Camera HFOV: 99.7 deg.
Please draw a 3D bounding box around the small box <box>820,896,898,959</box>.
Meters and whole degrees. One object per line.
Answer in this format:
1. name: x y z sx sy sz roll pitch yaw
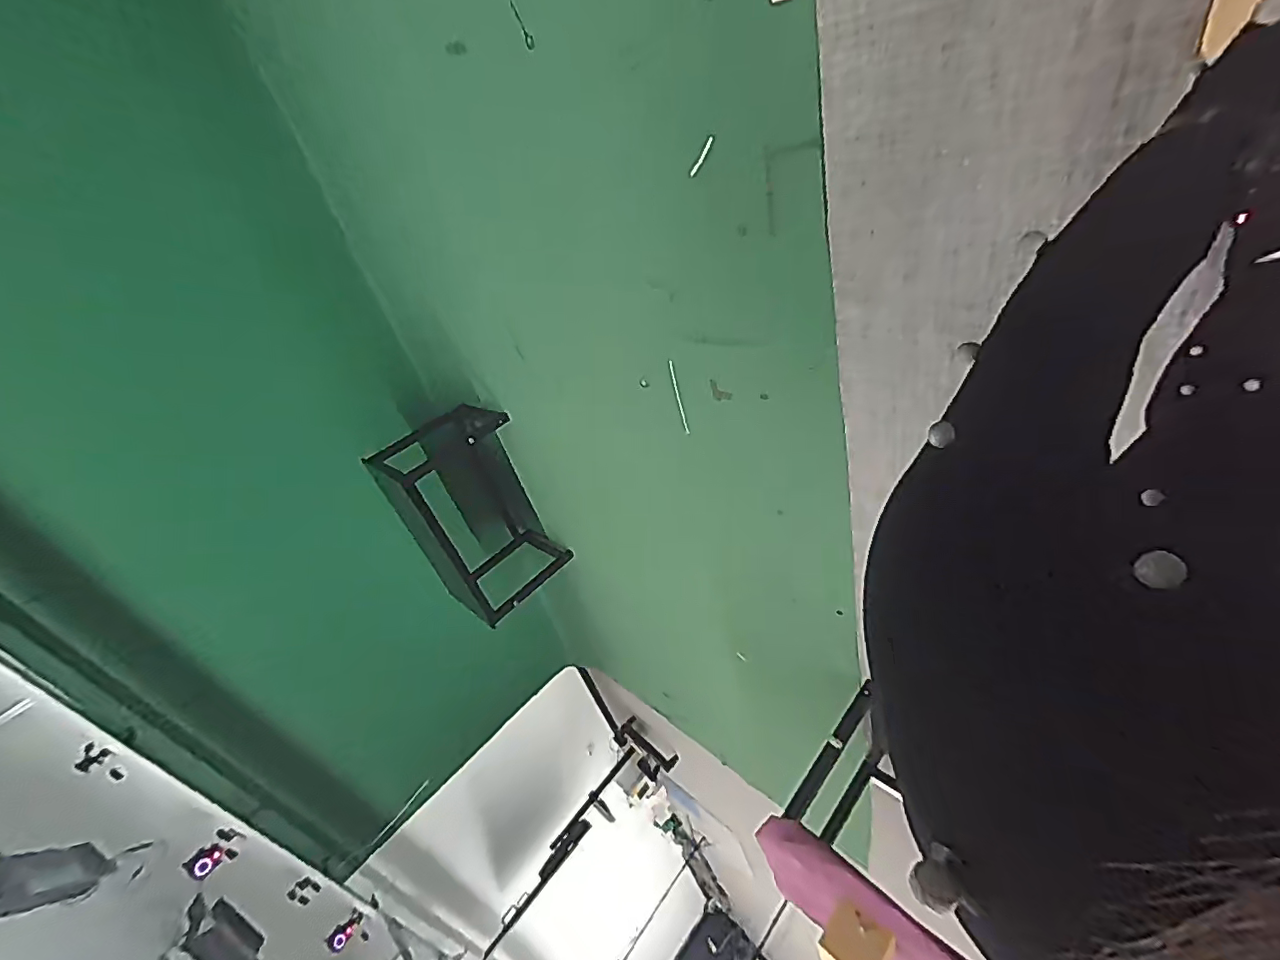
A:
1. small box: 0.673 1.437 1.655 0.168 0.176 0.179 19 138 42
